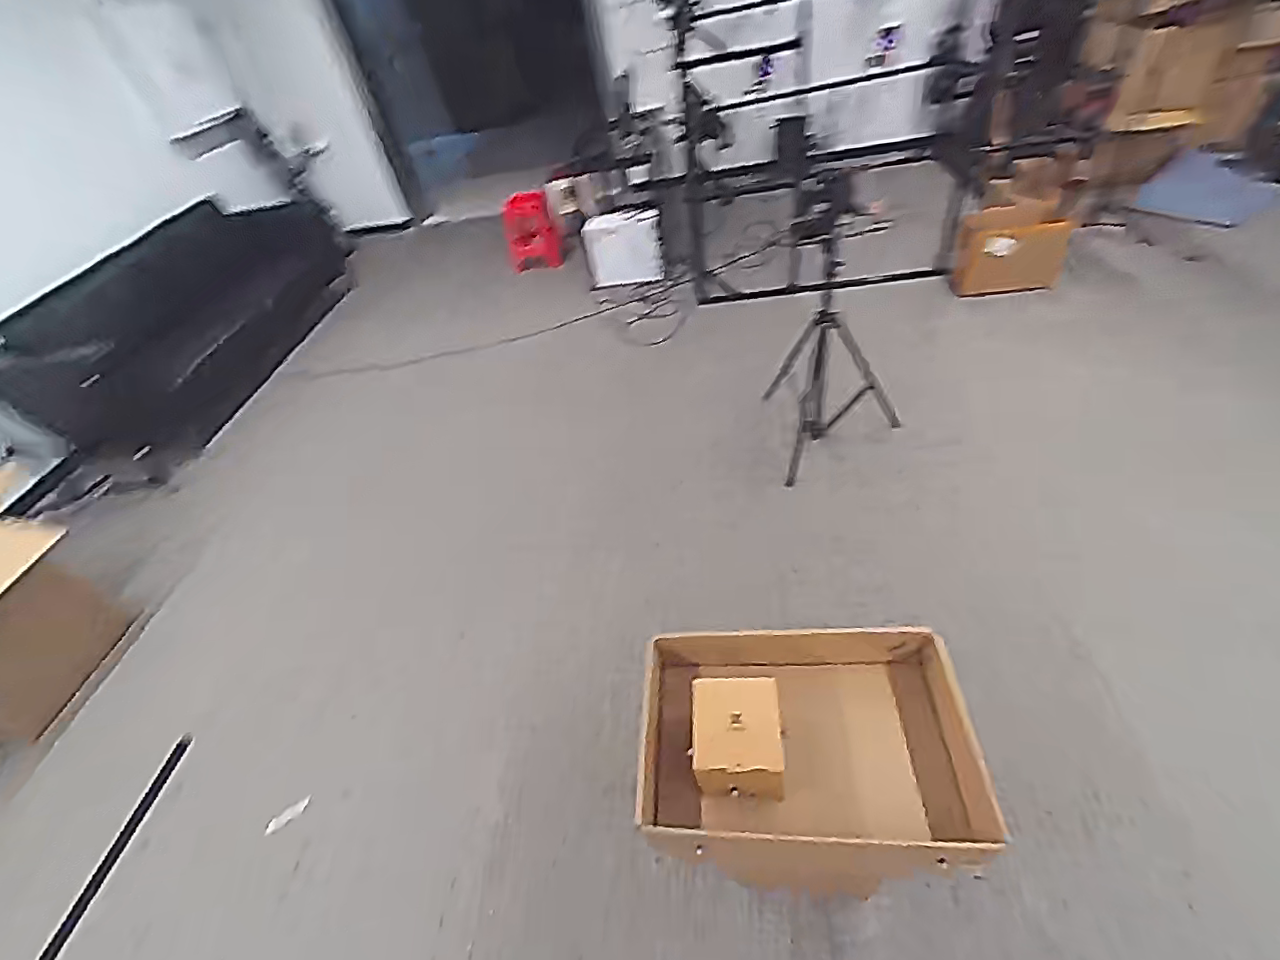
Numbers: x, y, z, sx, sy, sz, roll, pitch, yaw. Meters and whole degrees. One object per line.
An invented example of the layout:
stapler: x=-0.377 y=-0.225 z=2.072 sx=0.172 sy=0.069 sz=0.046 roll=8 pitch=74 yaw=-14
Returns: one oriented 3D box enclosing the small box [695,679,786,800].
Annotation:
small box: x=0.201 y=0.527 z=1.100 sx=0.168 sy=0.176 sz=0.179 roll=-4 pitch=45 yaw=10
